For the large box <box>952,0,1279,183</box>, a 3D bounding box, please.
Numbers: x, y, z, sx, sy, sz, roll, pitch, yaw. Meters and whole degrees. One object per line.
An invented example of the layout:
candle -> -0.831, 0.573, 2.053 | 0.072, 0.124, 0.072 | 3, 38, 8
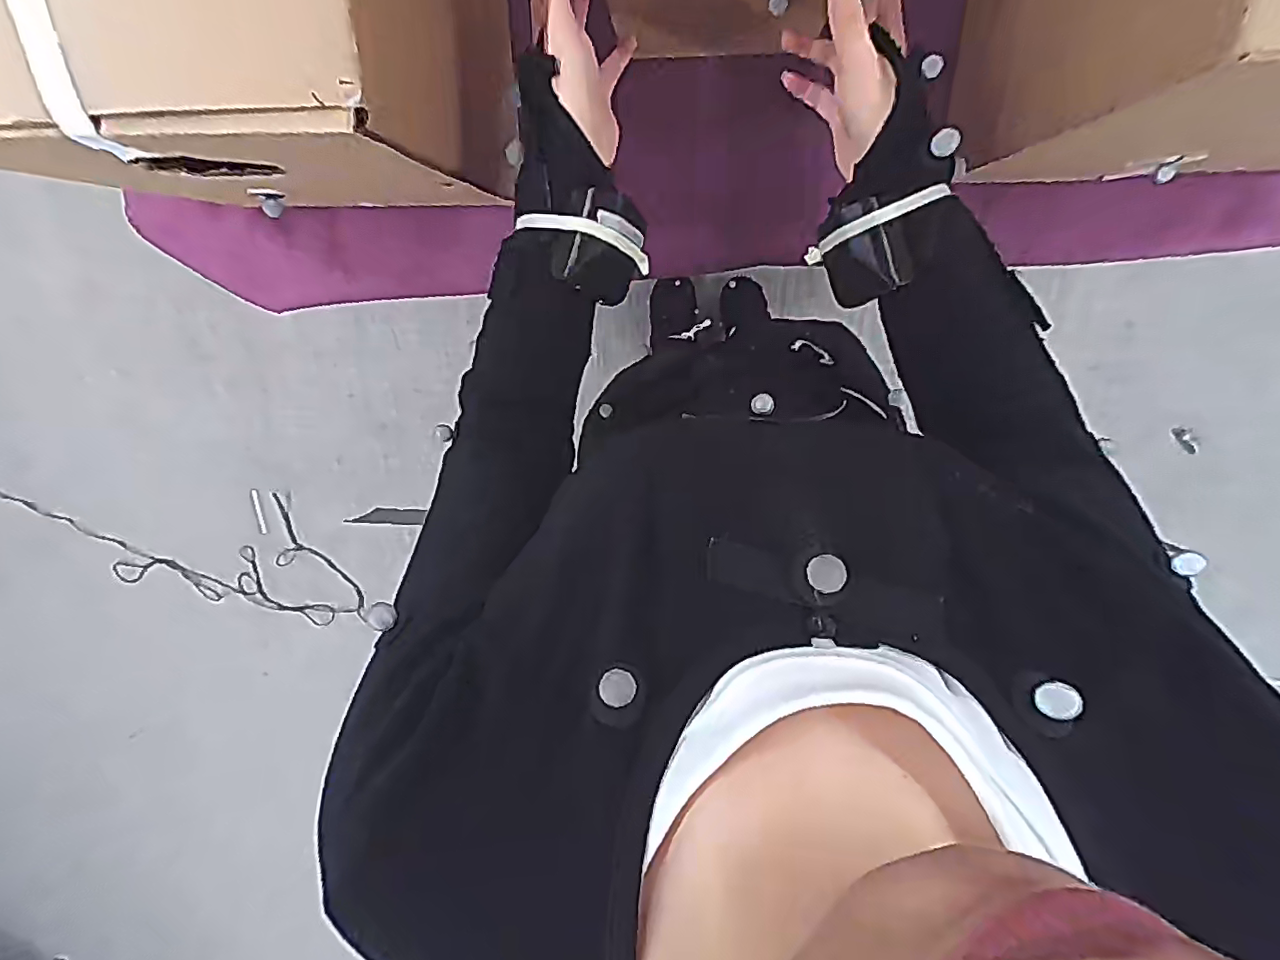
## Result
large box -> 0.414, -0.420, 0.290 | 0.320, 0.320, 0.408 | 0, 109, 5
